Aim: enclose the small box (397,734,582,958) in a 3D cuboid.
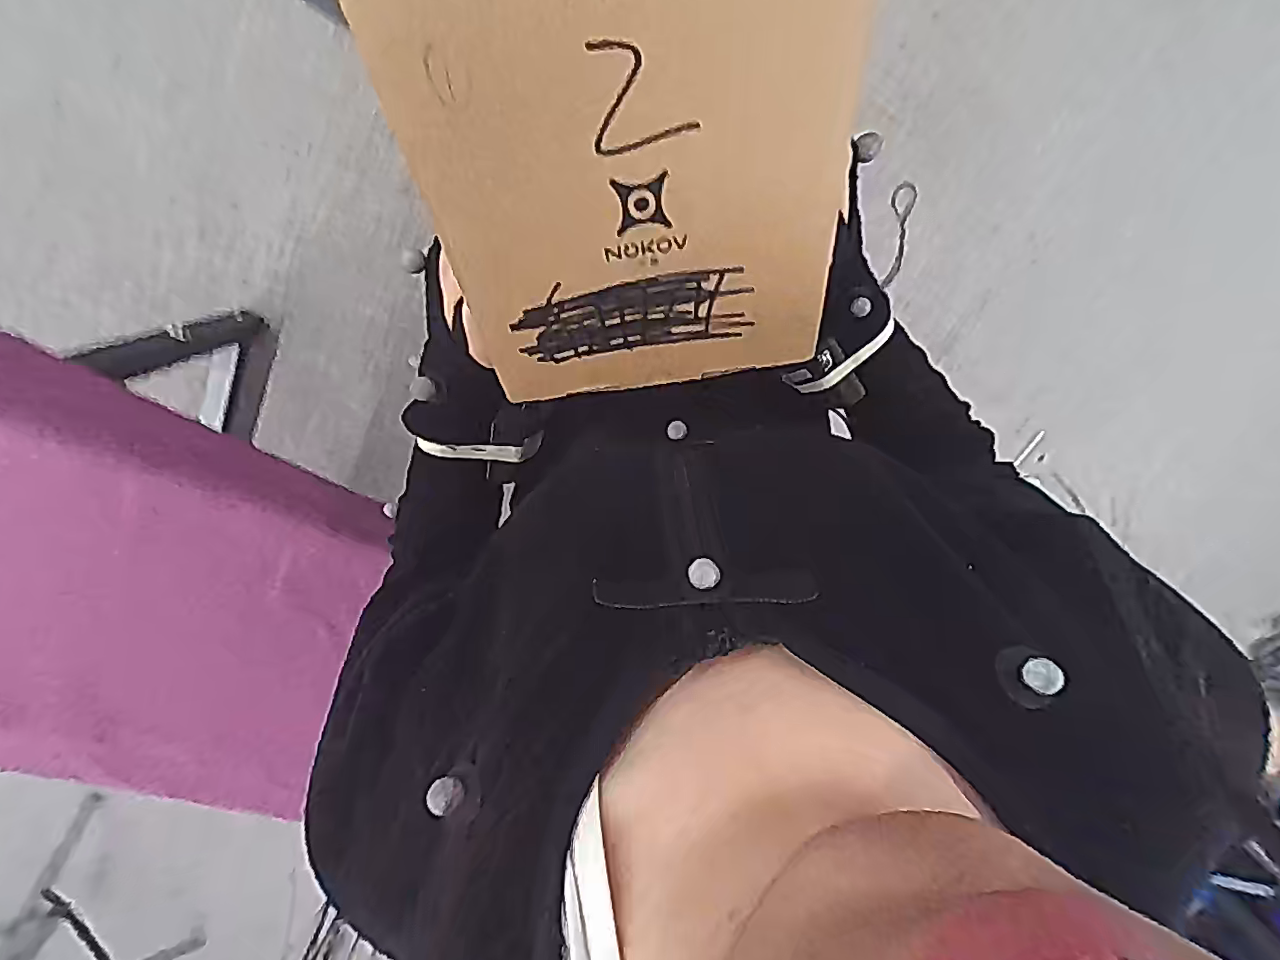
[{"bbox_3d":[-0.186,0.464,0.698,0.168,0.176,0.179,22,110,-16],"label":"small box"}]
